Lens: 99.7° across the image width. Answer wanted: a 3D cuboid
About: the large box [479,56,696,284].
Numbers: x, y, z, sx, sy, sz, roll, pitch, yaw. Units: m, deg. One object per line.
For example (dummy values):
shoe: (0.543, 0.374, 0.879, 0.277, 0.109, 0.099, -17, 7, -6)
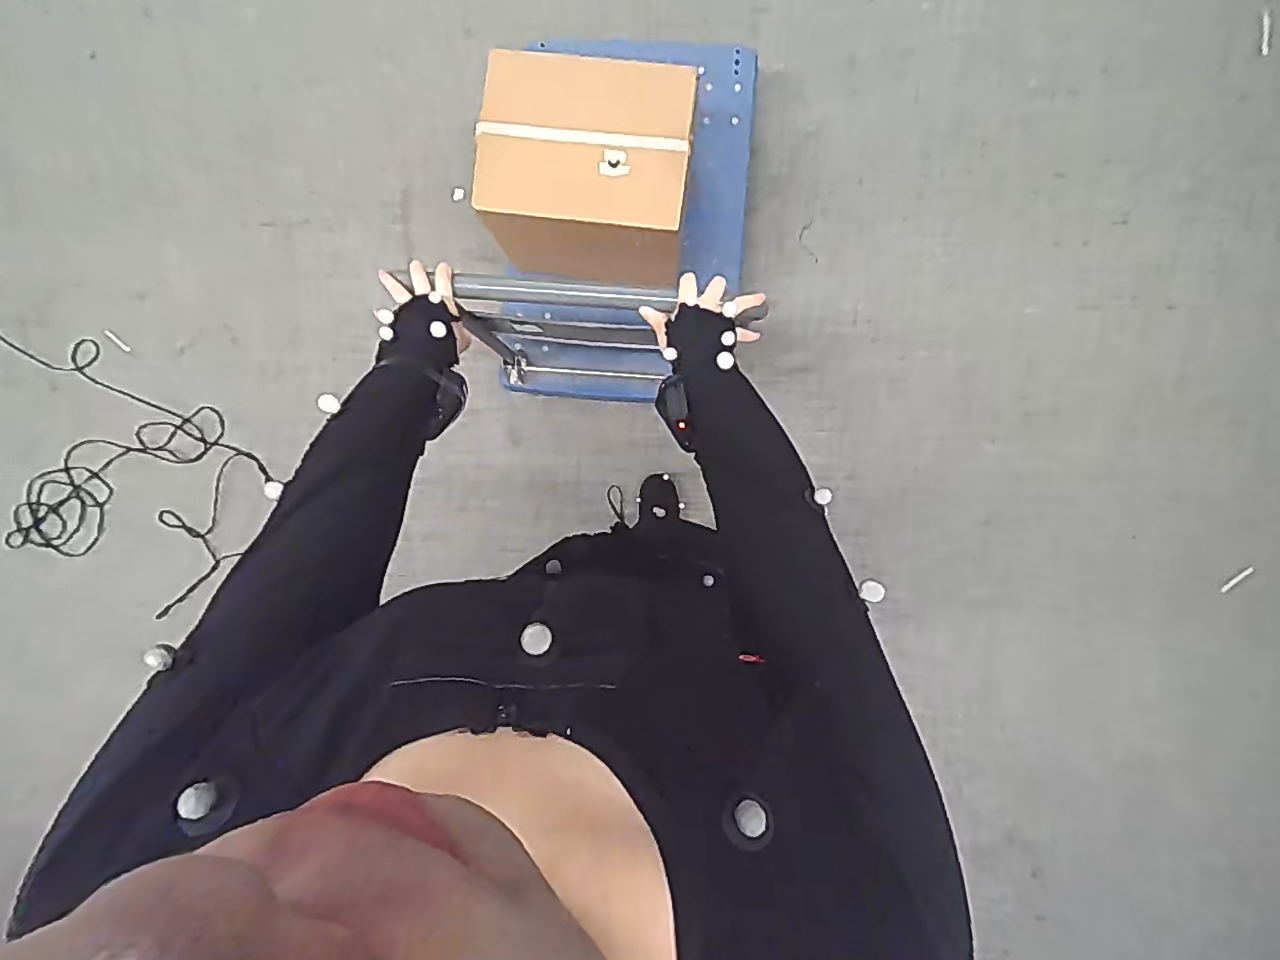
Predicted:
large box: (-0.102, -0.656, 1.197, 0.408, 0.320, 0.320, 7, 90, 2)
